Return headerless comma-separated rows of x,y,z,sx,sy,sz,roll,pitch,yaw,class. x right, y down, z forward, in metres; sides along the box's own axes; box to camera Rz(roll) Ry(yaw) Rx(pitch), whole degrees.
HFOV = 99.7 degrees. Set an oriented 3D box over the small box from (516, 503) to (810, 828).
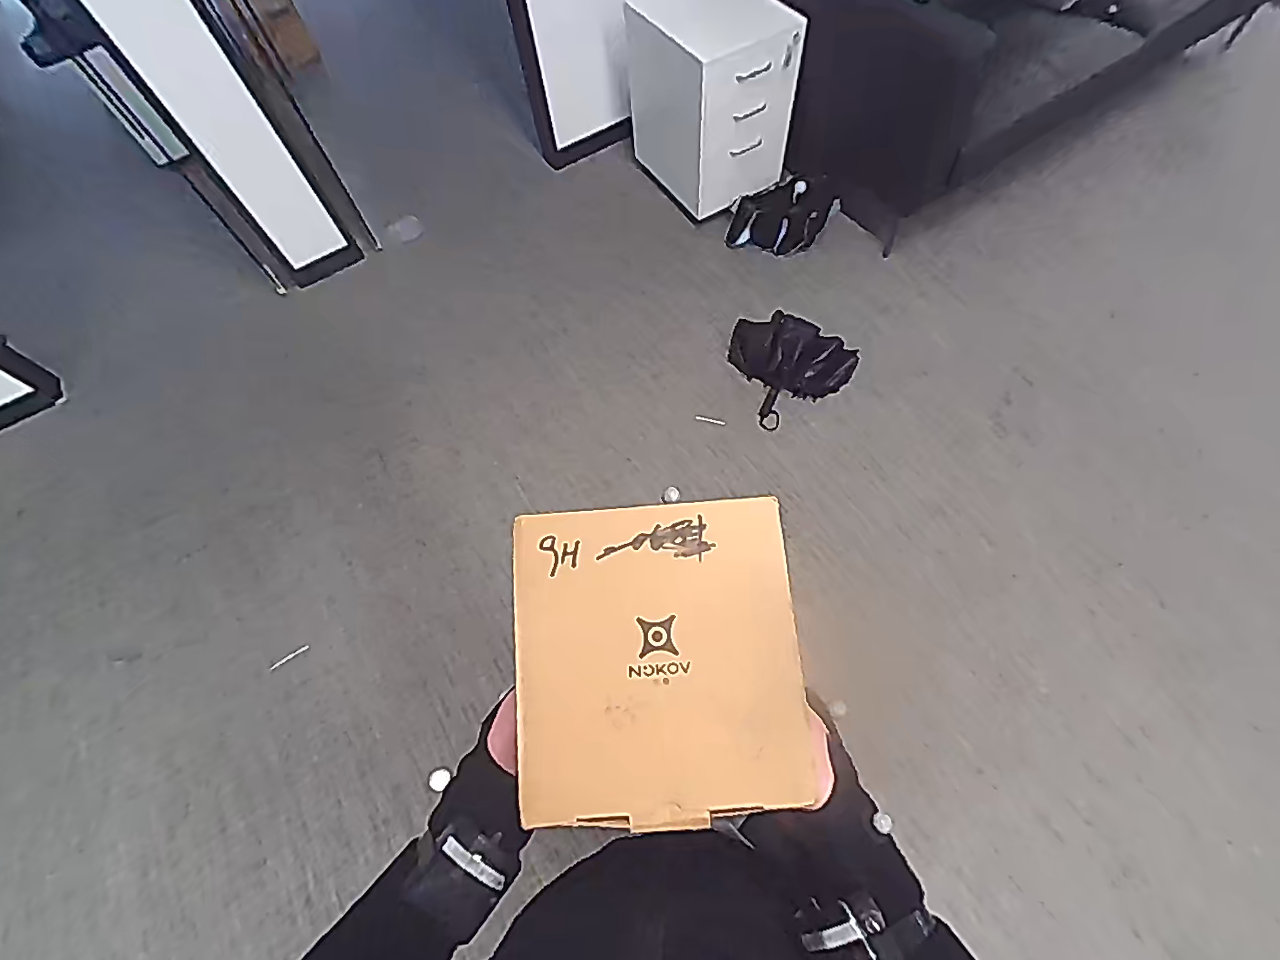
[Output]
0.010,0.120,0.394,0.168,0.176,0.179,-4,77,-1,small box
